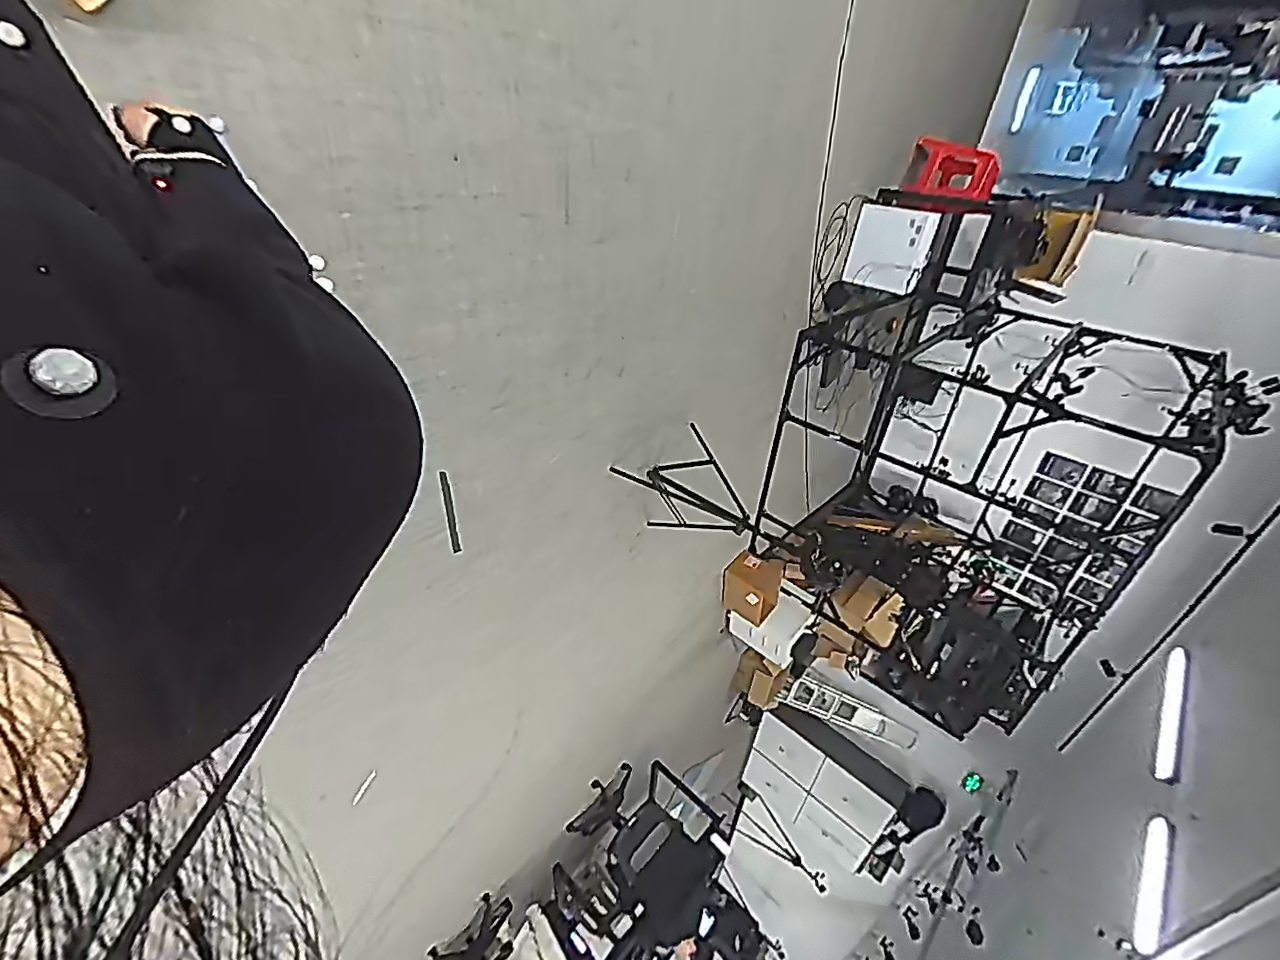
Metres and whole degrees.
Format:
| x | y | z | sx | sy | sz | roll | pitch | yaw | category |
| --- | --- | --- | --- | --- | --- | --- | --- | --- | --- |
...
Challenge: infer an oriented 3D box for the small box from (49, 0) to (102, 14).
| x | y | z | sx | sy | sz | roll | pitch | yaw | category |
| --- | --- | --- | --- | --- | --- | --- | --- | --- | --- |
| -0.869 | -0.835 | 0.803 | 0.179 | 0.176 | 0.168 | -55 | 148 | -11 | small box |
